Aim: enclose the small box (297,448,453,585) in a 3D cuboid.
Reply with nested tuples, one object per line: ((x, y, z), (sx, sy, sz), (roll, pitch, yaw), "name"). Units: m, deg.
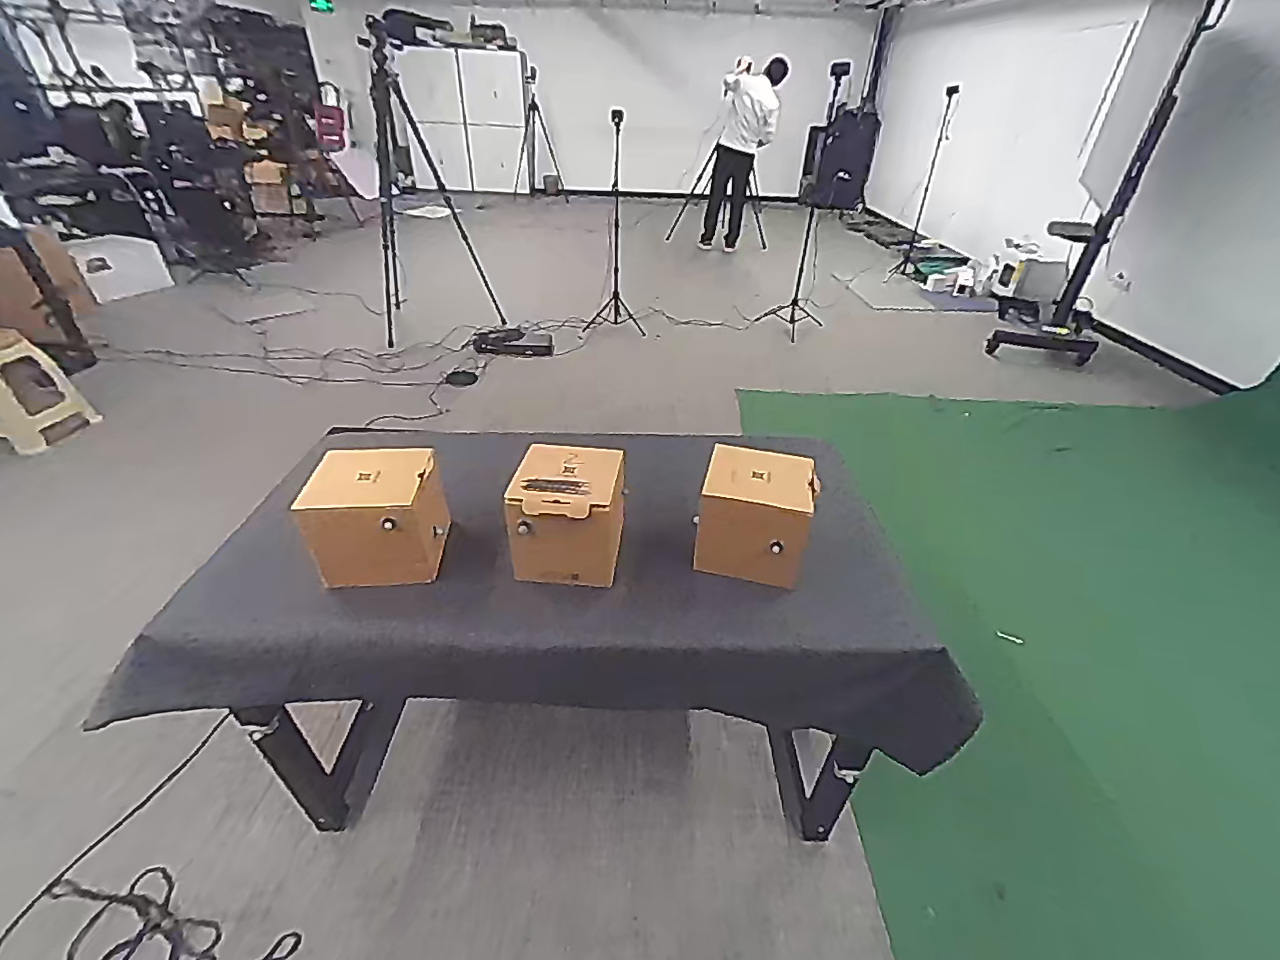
((-0.430, 0.061, 0.910), (0.179, 0.176, 0.168), (-2, 35, -7), "small box")

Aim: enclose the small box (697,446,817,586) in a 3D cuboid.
((0.203, 0.063, 0.945), (0.179, 0.176, 0.168), (9, 35, 11), "small box")
